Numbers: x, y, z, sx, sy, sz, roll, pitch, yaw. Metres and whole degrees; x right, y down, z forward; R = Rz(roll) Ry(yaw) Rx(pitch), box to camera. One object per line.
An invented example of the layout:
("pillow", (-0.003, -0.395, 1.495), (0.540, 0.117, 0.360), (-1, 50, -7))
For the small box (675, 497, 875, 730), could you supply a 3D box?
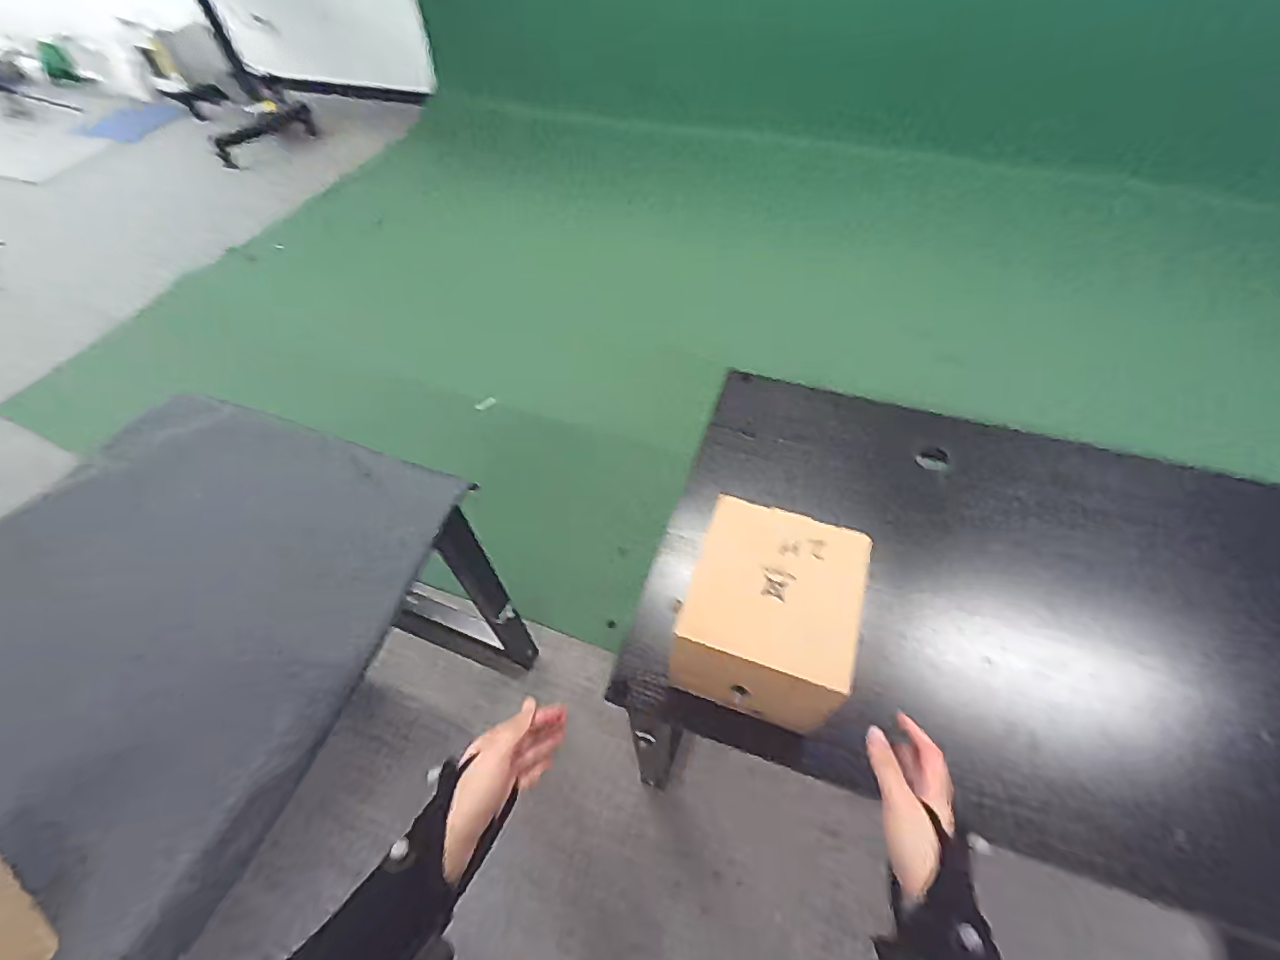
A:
("small box", (0.143, 0.153, 0.603), (0.168, 0.176, 0.179), (16, 55, 13))
